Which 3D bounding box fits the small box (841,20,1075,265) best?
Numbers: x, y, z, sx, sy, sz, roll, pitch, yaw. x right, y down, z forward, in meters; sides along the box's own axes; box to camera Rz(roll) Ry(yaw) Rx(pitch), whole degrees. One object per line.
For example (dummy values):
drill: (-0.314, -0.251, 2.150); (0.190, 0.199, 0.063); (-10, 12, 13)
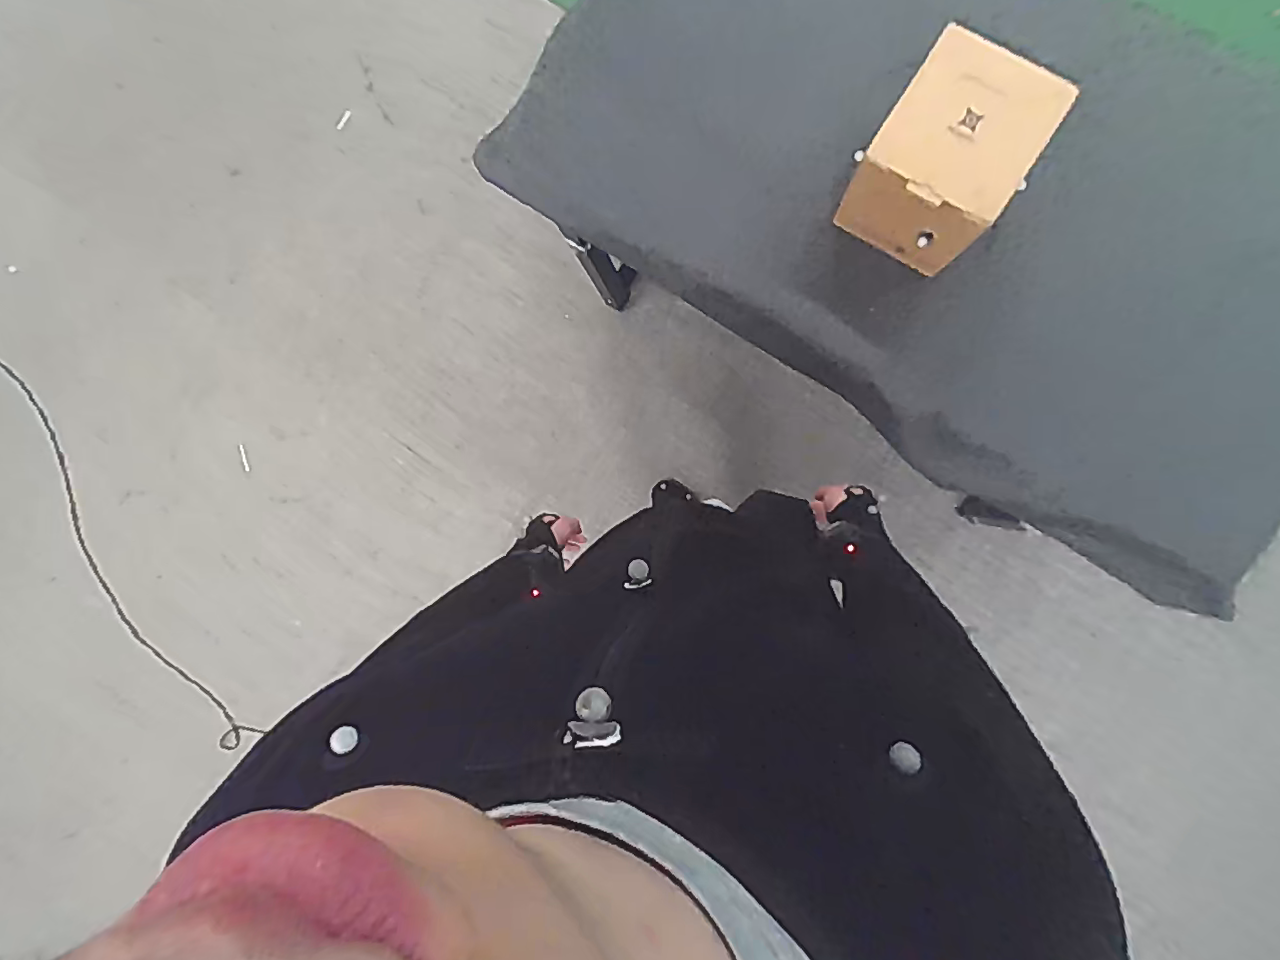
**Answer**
small box: (0.382, -0.411, 0.694); (0.168, 0.176, 0.179); (32, 94, 4)
